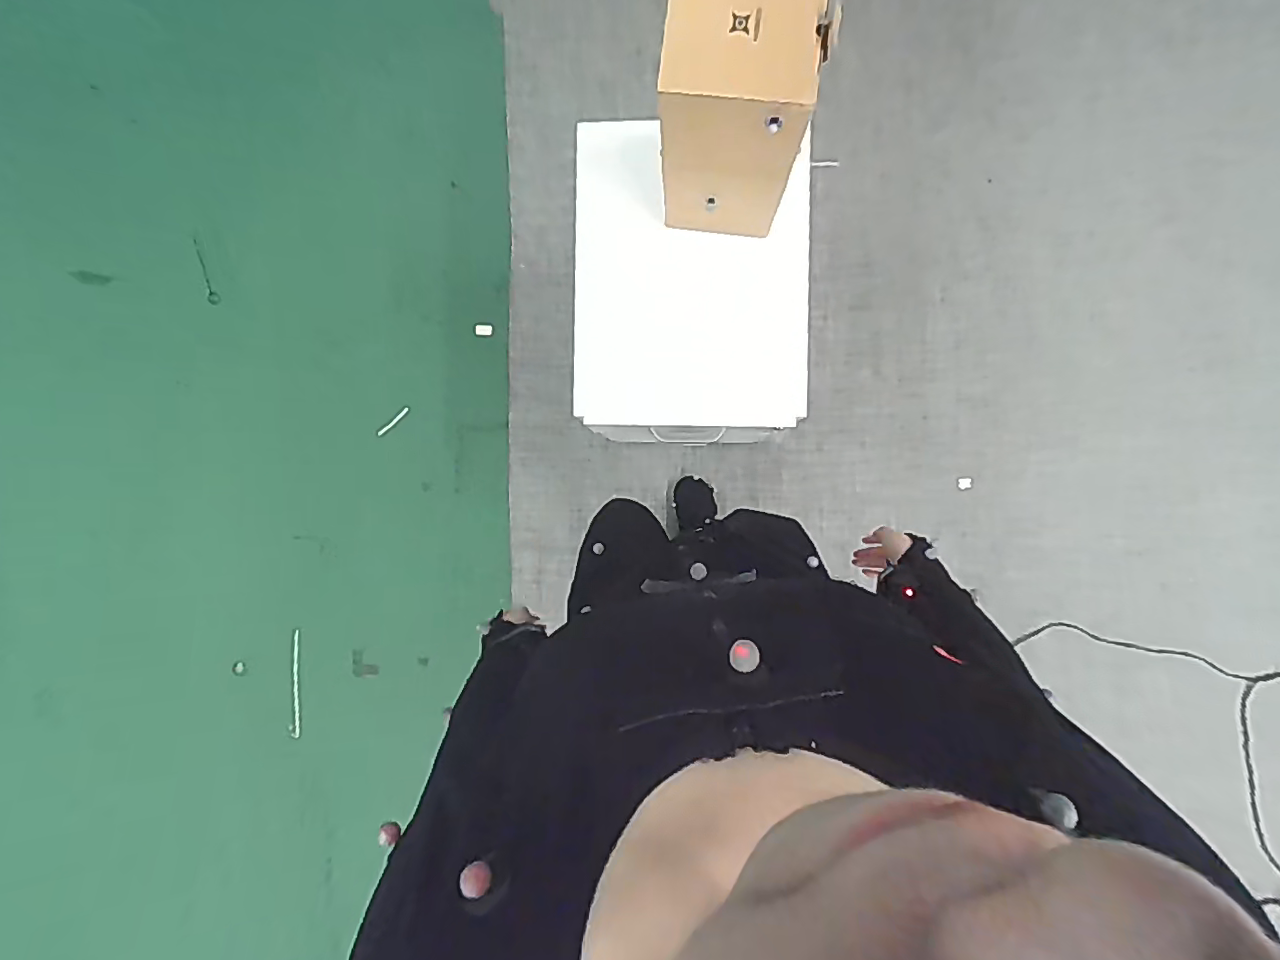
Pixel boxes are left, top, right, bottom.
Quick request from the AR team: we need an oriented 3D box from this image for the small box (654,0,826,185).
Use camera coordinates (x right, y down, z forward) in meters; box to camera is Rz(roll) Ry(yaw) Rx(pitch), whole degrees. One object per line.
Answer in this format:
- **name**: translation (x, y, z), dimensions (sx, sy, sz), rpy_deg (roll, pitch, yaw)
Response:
- **small box**: translation (0.116, -0.493, 0.667), dimensions (0.179, 0.176, 0.168), rpy_deg (7, 90, 3)

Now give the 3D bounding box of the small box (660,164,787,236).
- **small box**: translation (0.131, -0.495, 0.829), dimensions (0.179, 0.176, 0.168), rpy_deg (8, 91, 4)
